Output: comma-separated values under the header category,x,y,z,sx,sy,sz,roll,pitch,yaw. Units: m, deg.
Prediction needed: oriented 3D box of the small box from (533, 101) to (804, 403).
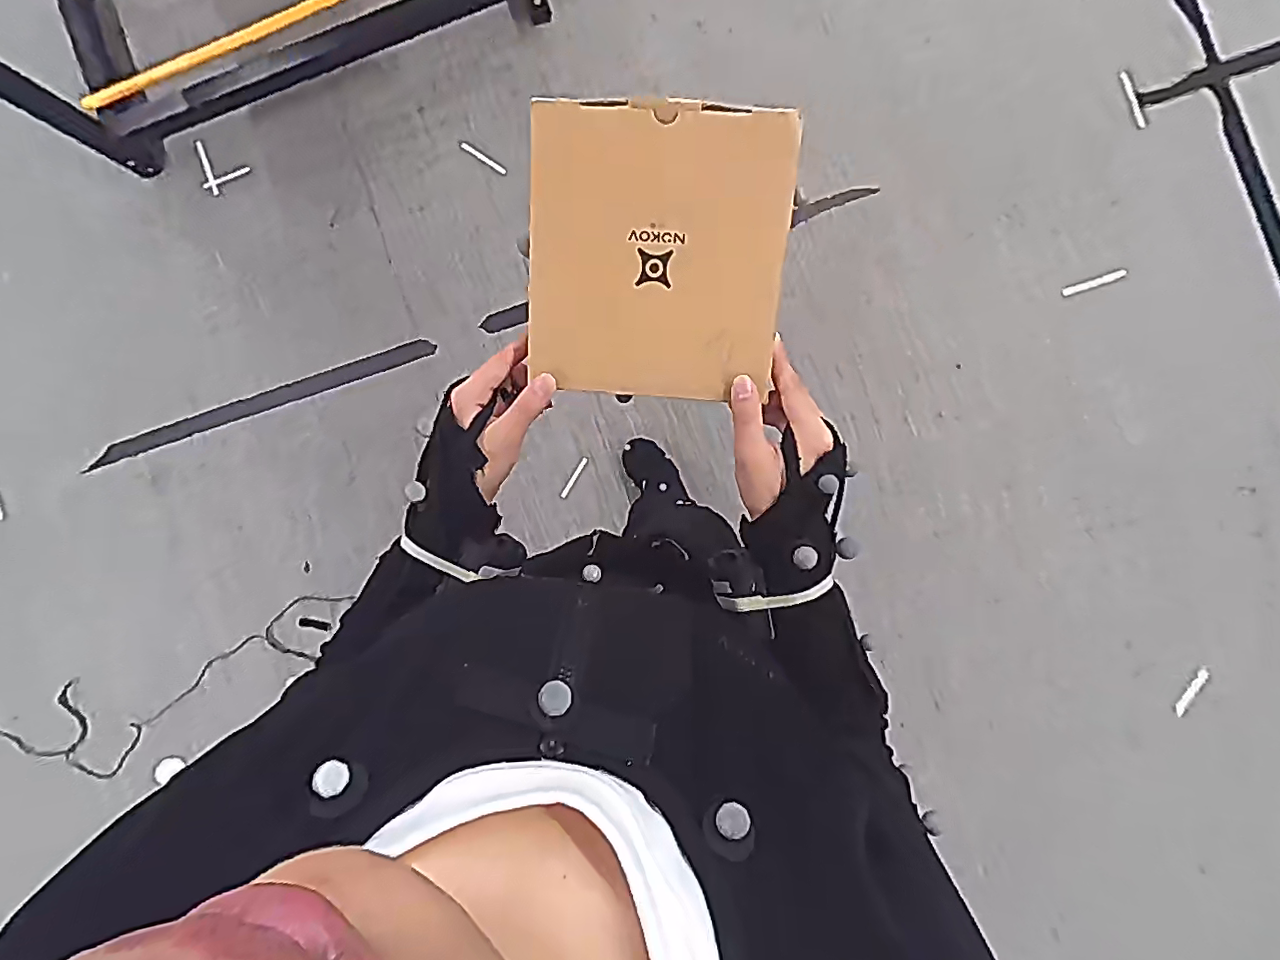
category,x,y,z,sx,sy,sz,roll,pitch,yaw
small box,0.019,-0.163,0.424,0.168,0.176,0.179,4,105,3
